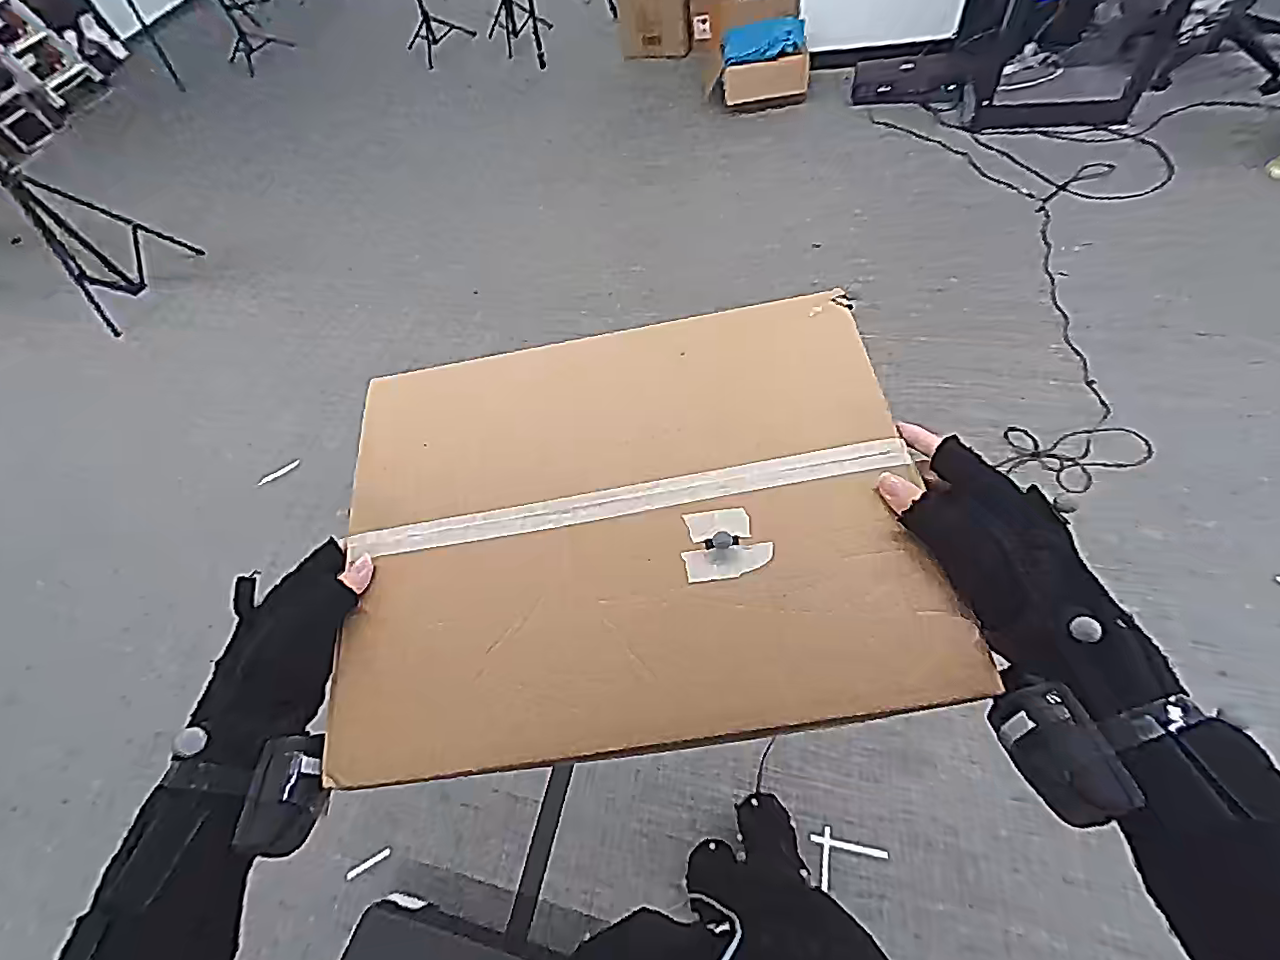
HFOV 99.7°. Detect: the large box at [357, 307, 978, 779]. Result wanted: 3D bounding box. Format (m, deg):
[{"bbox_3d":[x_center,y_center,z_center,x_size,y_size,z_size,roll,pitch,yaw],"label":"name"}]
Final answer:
[{"bbox_3d":[0.010,0.086,0.535,0.408,0.320,0.320,-10,63,3],"label":"large box"}]
